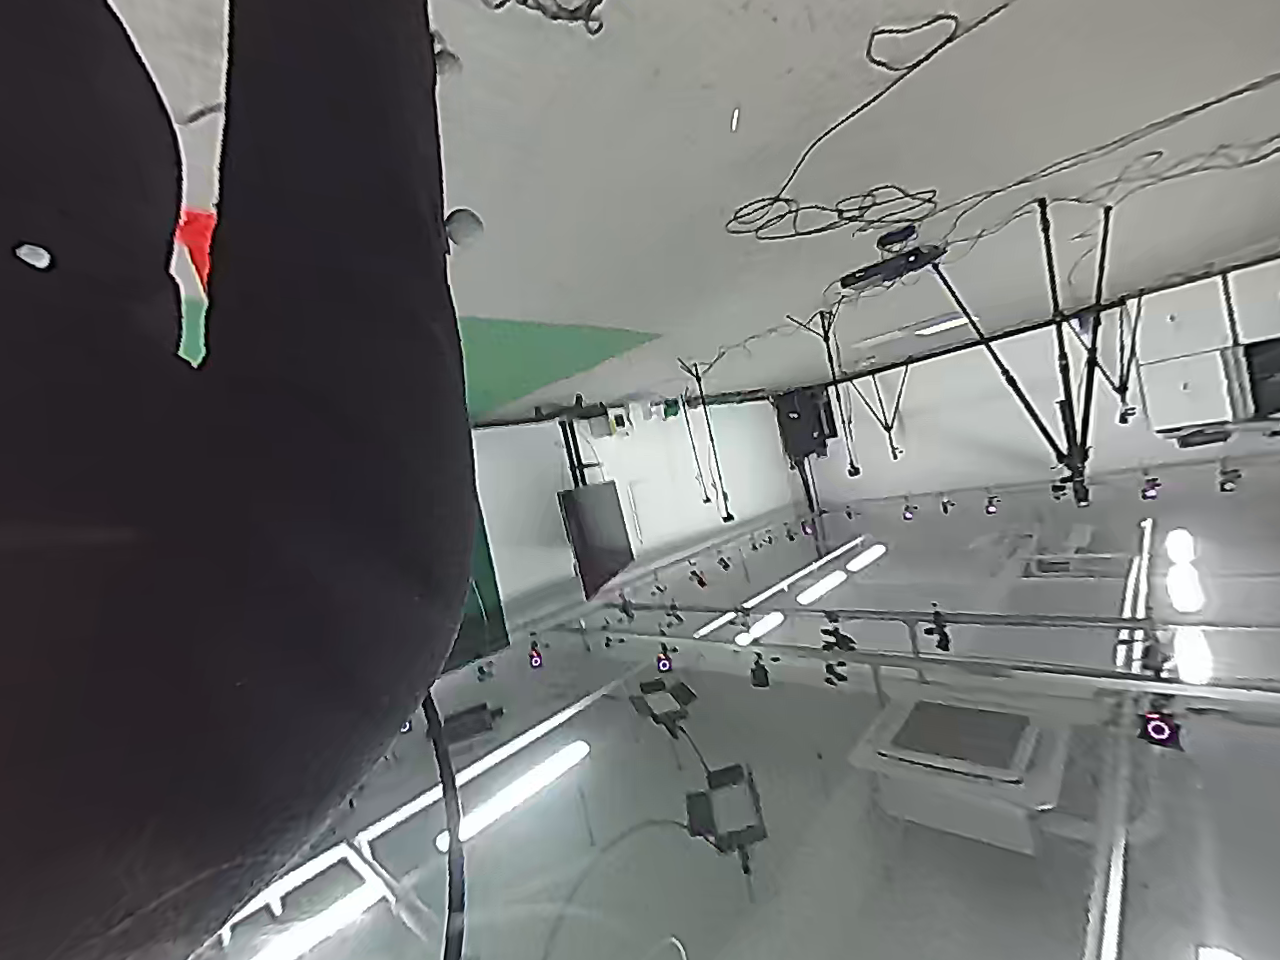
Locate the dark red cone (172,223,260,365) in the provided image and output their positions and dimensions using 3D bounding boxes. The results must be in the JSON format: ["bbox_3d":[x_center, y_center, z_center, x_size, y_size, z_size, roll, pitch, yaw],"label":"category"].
[{"bbox_3d":[-1.189,-0.531,1.564,0.202,0.394,0.201,-13,-176,-39],"label":"dark red cone"}]
